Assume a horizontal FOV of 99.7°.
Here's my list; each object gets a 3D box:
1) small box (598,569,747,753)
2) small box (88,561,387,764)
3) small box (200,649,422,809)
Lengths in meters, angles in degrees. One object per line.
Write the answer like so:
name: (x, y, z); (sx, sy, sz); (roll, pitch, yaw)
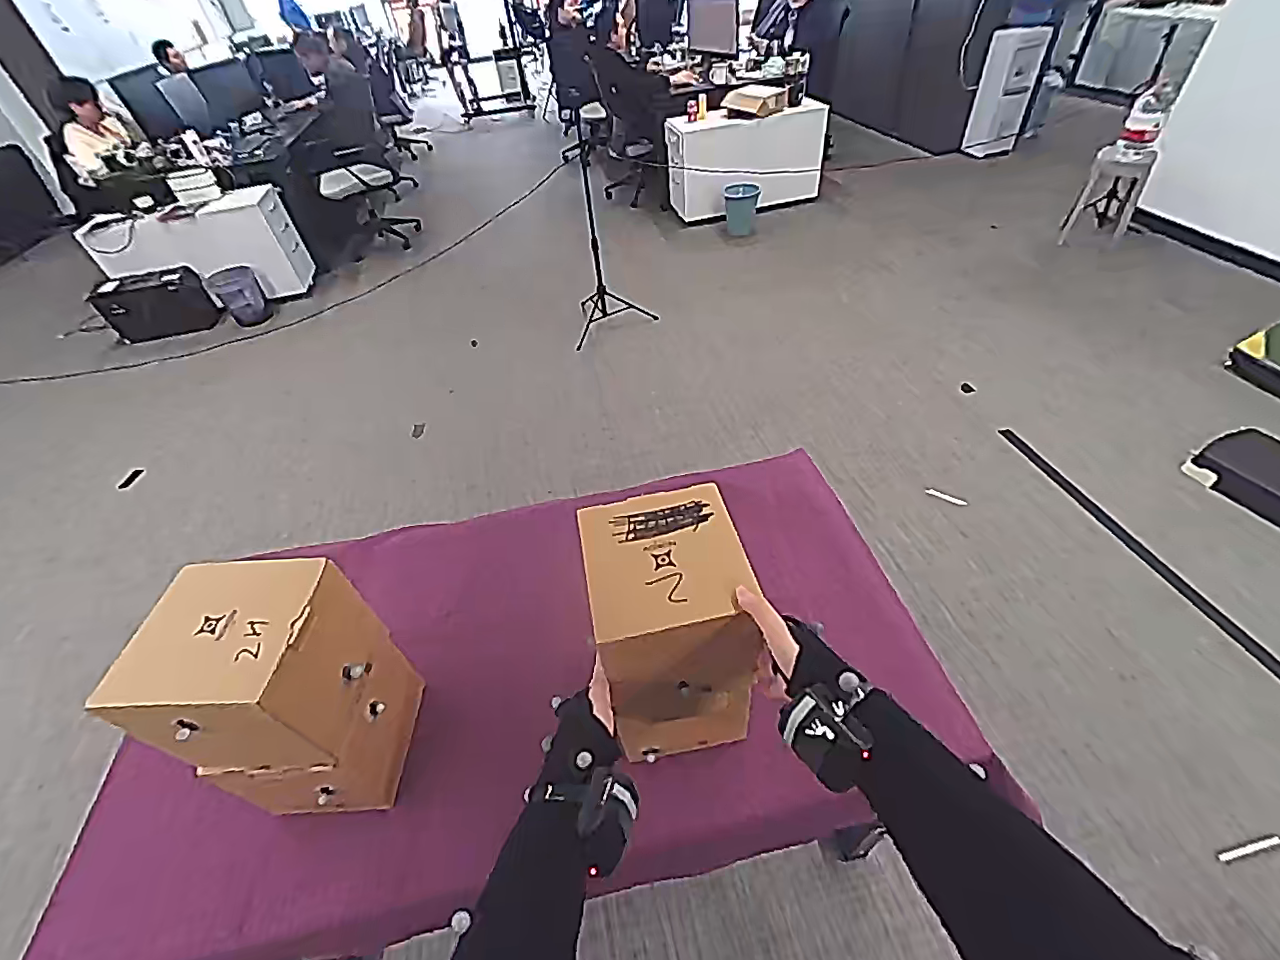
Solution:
small box: (0.042, 0.252, 0.738); (0.168, 0.176, 0.179); (-10, 44, -3)
small box: (-0.425, 0.209, 0.612); (0.179, 0.176, 0.168); (-3, 46, 3)
small box: (-0.416, 0.327, 0.726); (0.168, 0.176, 0.179); (-4, 45, 3)
